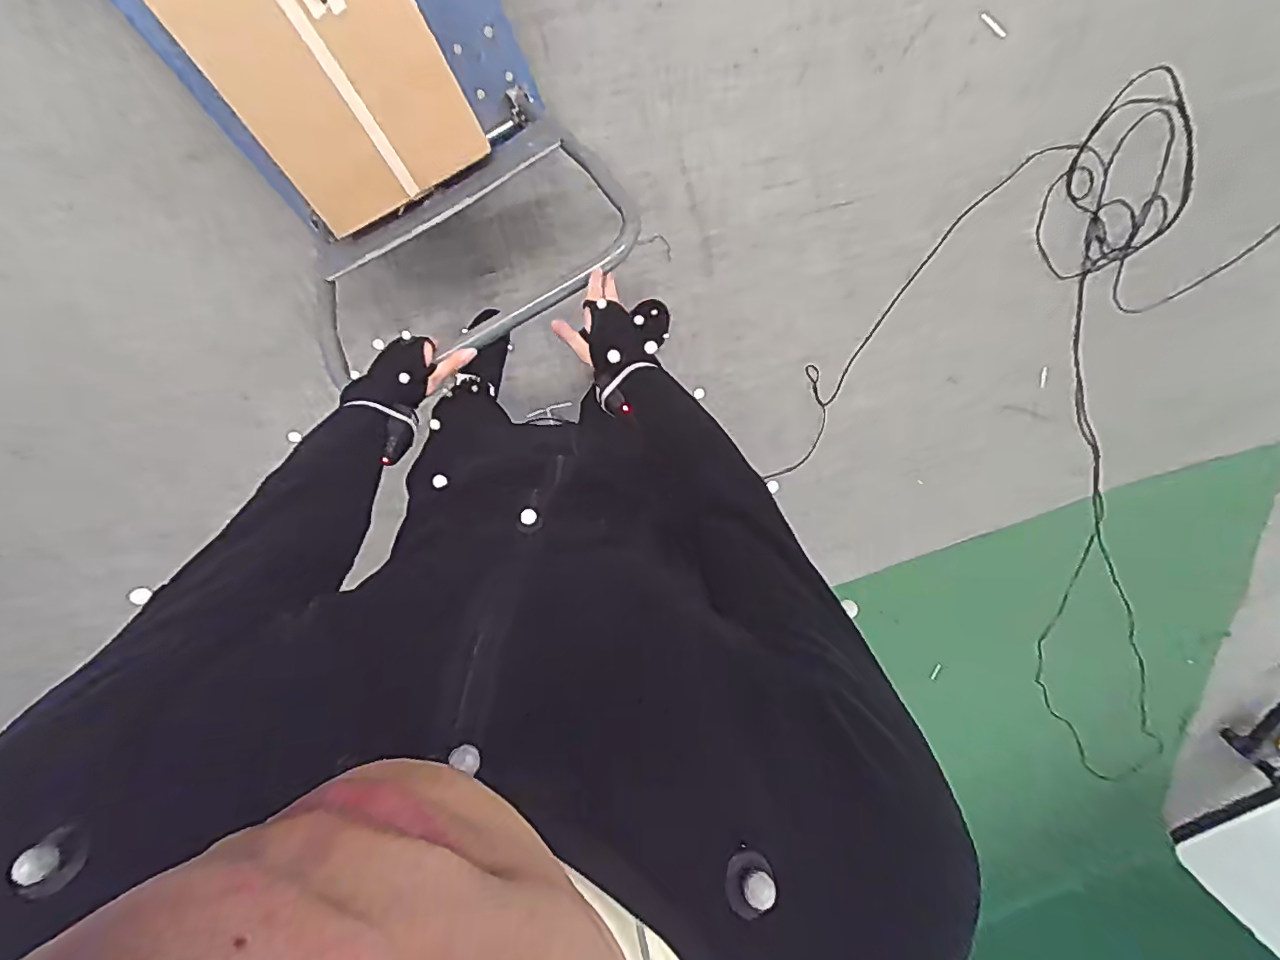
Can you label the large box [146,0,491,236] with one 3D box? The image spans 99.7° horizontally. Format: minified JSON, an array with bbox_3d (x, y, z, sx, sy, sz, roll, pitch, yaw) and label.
[{"bbox_3d":[-0.509,-0.708,0.906,0.320,0.320,0.408,-31,135,0],"label":"large box"}]
